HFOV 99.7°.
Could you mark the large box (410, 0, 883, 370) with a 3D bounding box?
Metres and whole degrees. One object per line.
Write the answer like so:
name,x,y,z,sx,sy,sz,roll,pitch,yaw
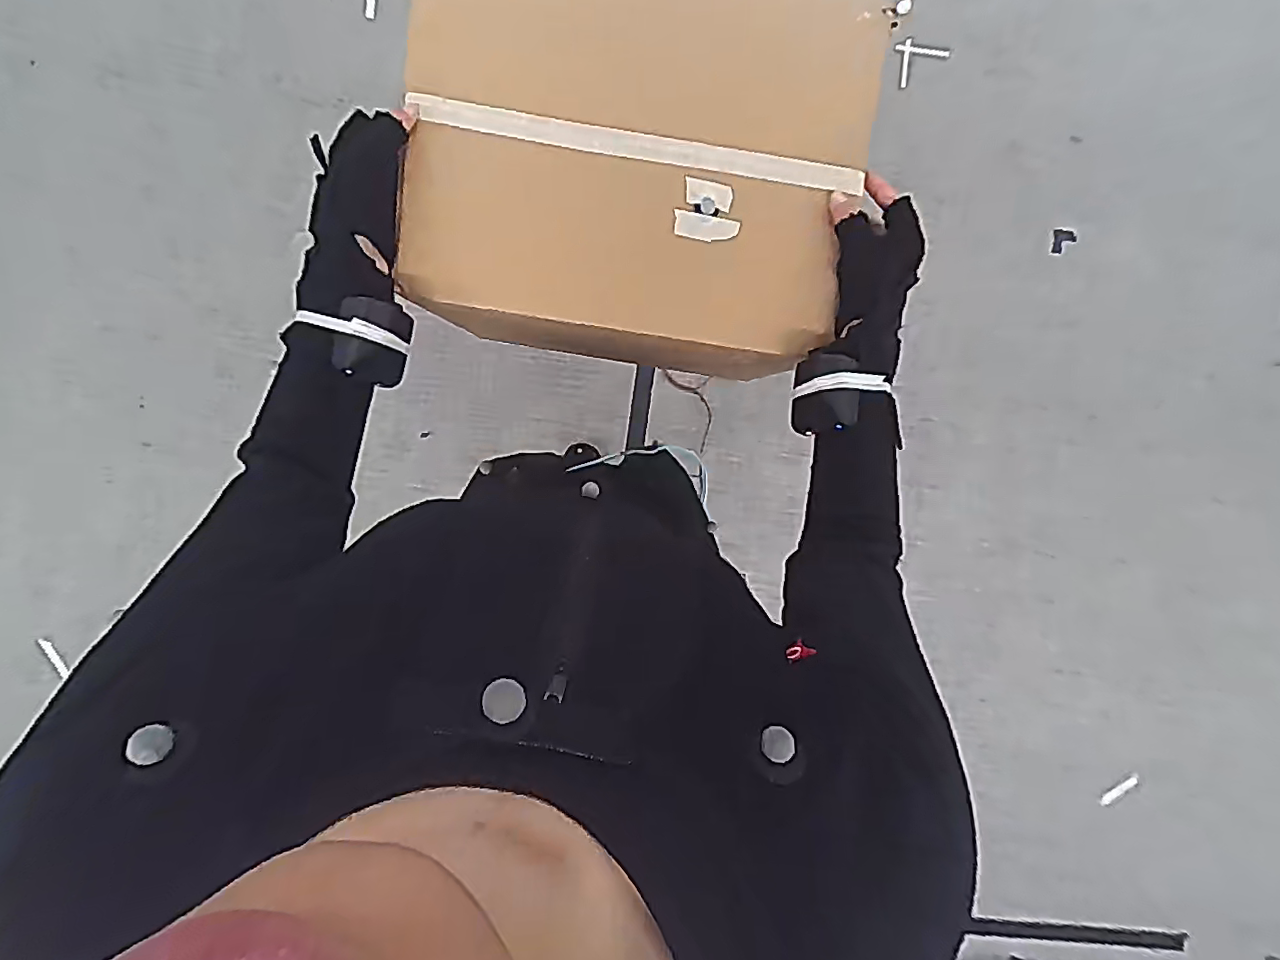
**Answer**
large box,-0.006,-0.320,0.637,0.408,0.320,0.320,8,98,-4
